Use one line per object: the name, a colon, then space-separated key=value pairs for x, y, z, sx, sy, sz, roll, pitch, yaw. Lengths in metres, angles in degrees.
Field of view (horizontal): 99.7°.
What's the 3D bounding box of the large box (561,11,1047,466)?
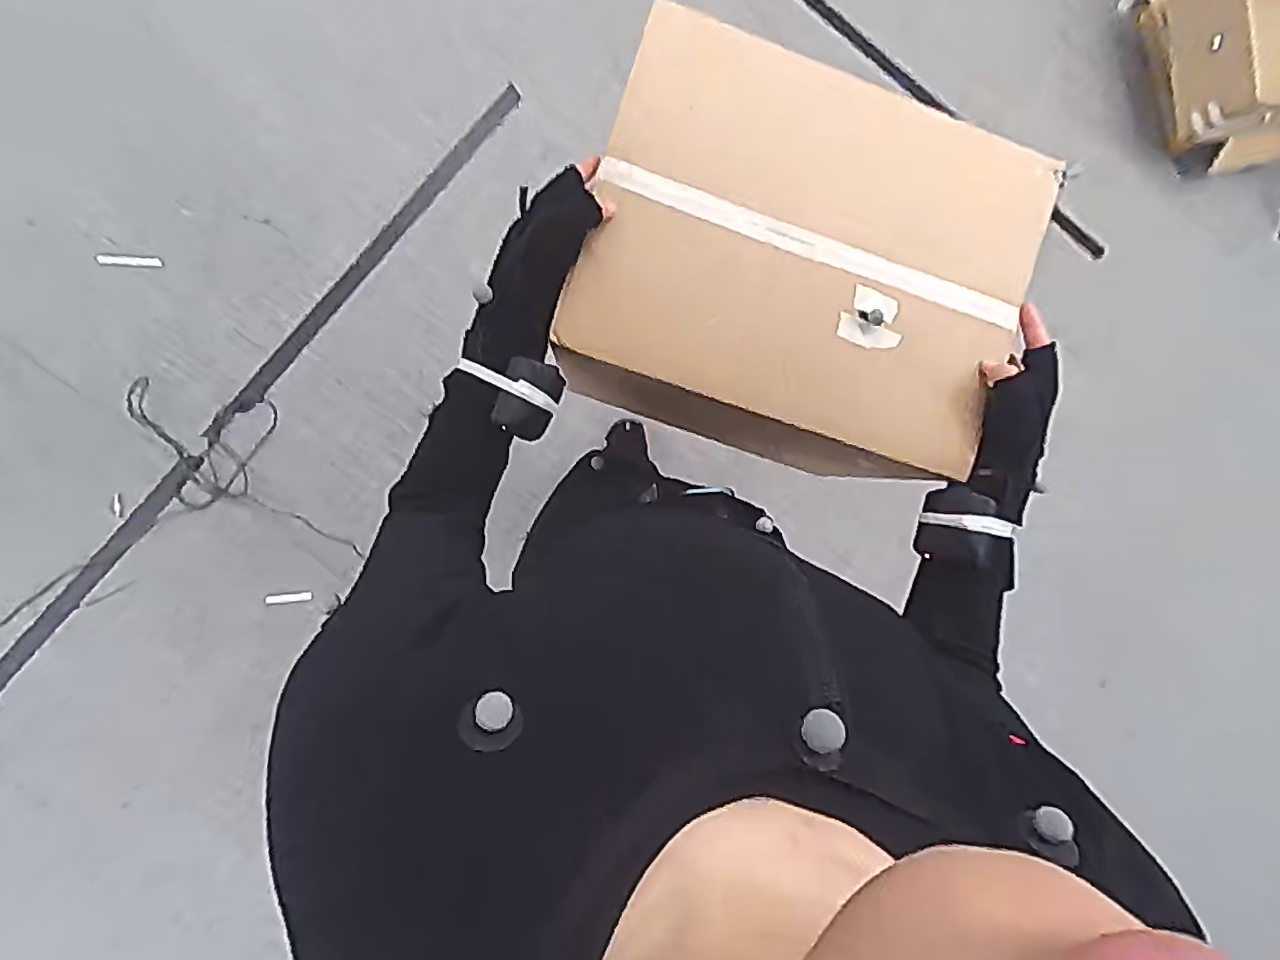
large box: x=0.144 y=-0.220 z=0.646 sx=0.408 sy=0.320 sz=0.320 roll=18 pitch=91 yaw=-6
